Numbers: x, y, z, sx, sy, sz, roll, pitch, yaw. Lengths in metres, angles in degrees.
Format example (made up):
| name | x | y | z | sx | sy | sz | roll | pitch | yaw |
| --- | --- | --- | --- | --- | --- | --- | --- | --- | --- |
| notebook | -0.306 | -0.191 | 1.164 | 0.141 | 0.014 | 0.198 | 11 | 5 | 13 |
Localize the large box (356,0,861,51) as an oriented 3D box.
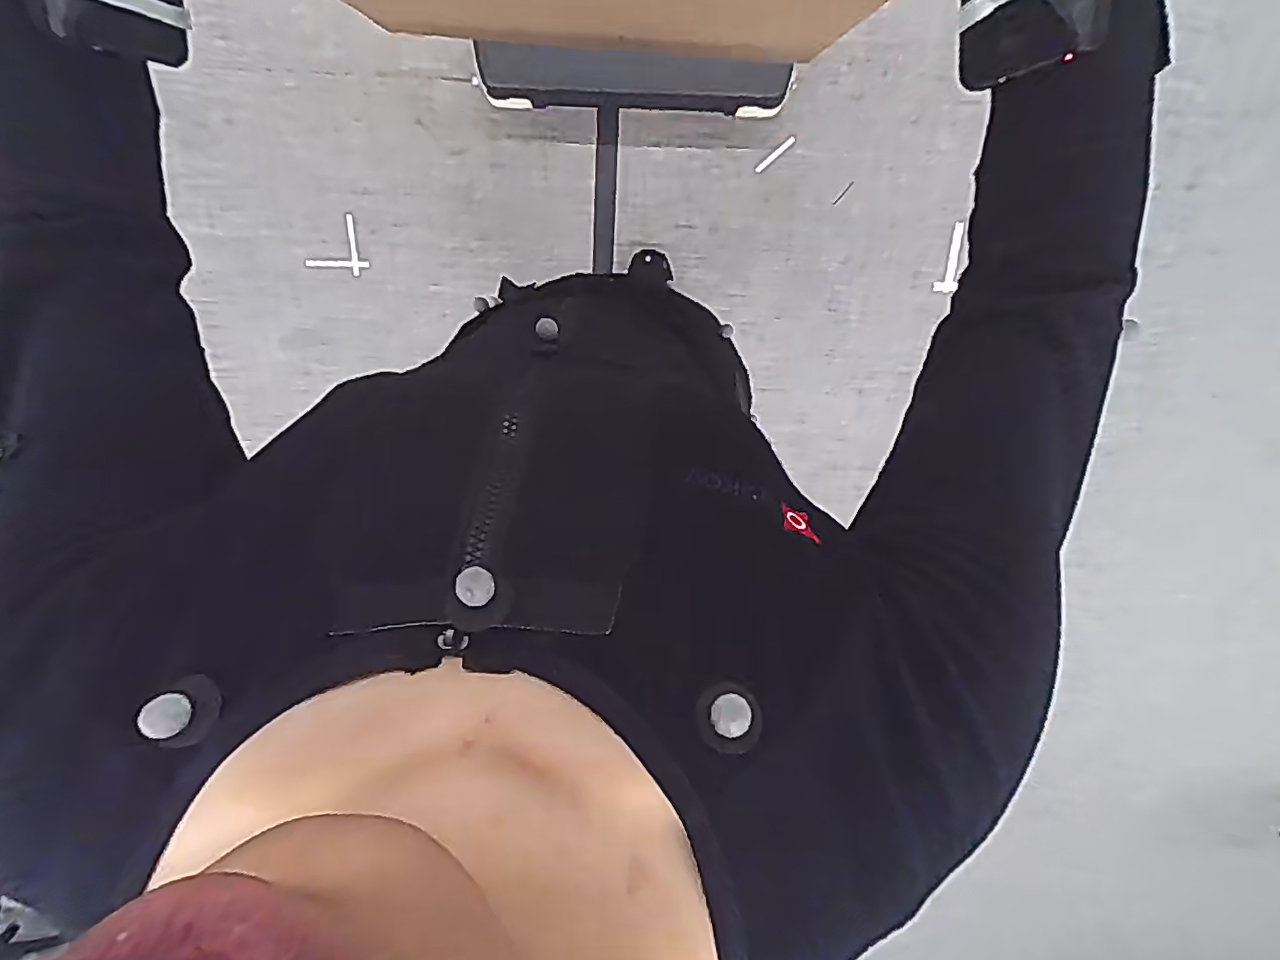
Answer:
| name | x | y | z | sx | sy | sz | roll | pitch | yaw |
| --- | --- | --- | --- | --- | --- | --- | --- | --- | --- |
| large box | -0.027 | -0.485 | 0.317 | 0.408 | 0.320 | 0.320 | 2 | 118 | -2 |
